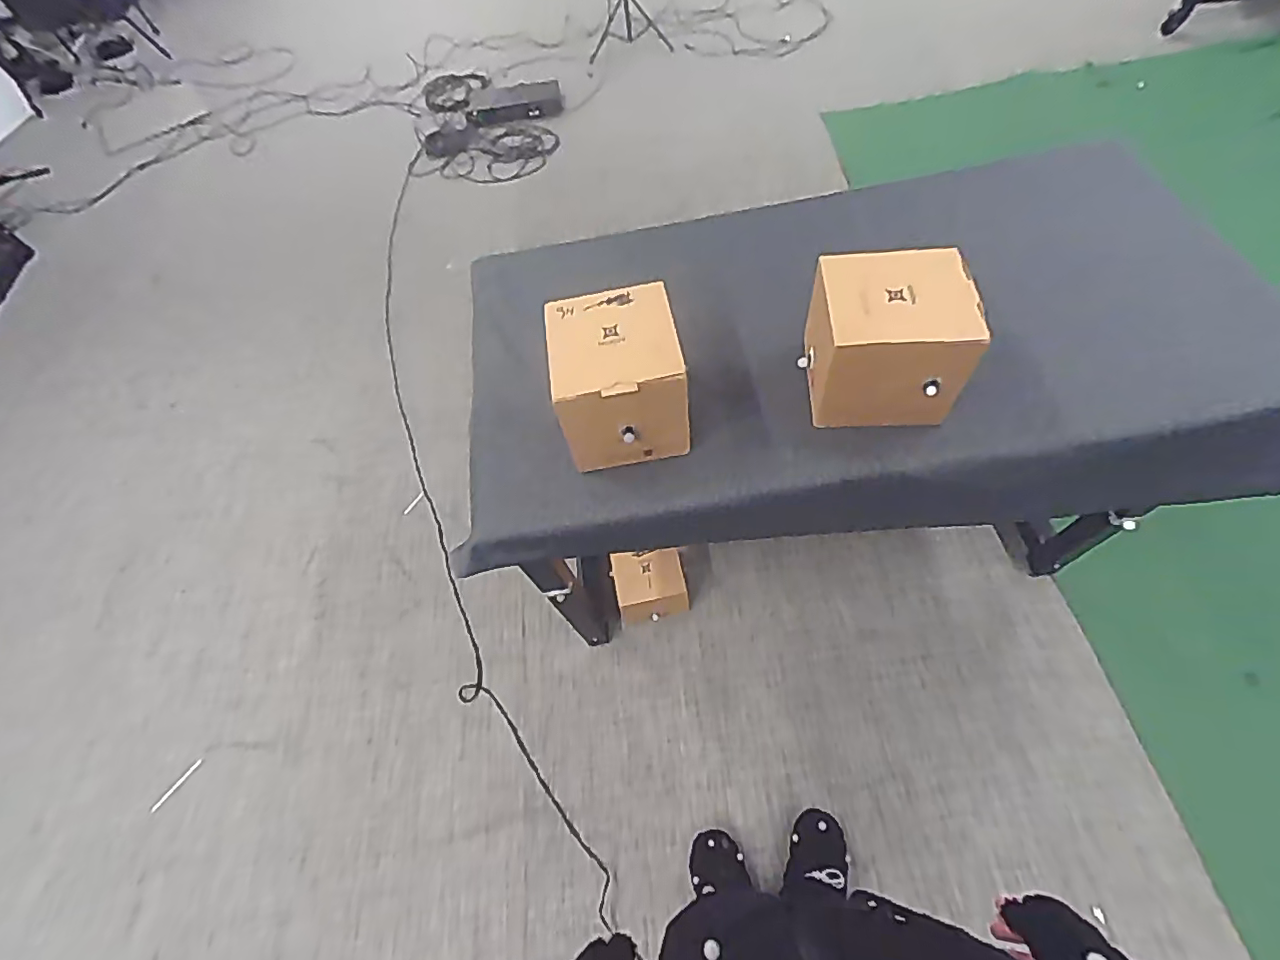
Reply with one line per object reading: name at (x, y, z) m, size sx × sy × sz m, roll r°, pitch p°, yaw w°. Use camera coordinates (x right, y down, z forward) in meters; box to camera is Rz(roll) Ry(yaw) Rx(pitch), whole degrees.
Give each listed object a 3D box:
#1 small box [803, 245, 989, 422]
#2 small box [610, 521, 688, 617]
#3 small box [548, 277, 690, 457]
small box at (0.331, -0.193, 0.741) m, size 0.179 × 0.176 × 0.168 m, roll -2°, pitch 59°, yaw 8°
small box at (0.024, 0.231, 1.381) m, size 0.168 × 0.176 × 0.179 m, roll -12°, pitch 61°, yaw 1°
small box at (-0.025, -0.147, 0.756) m, size 0.168 × 0.176 × 0.179 m, roll -10°, pitch 59°, yaw 1°
